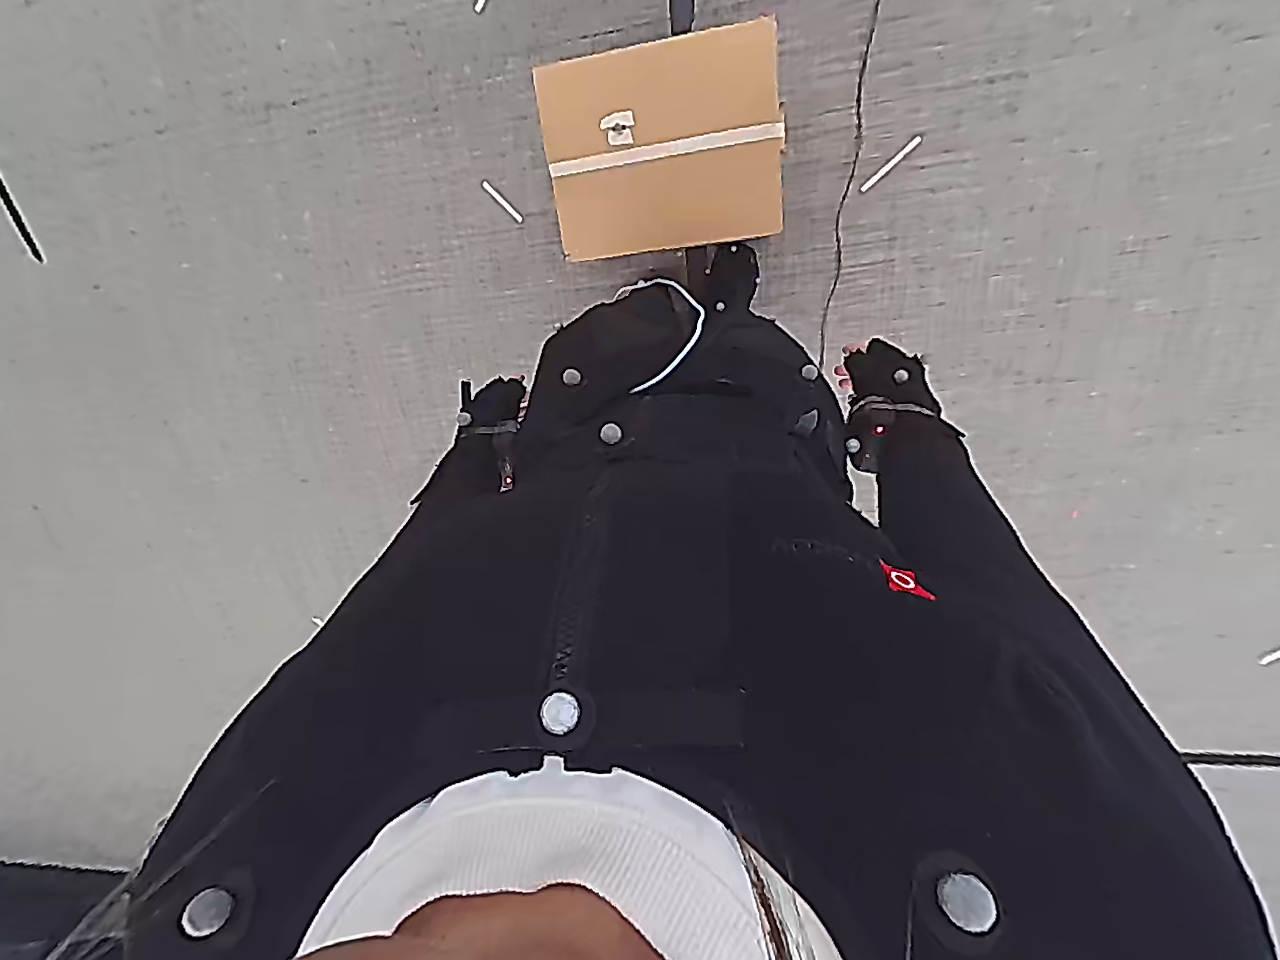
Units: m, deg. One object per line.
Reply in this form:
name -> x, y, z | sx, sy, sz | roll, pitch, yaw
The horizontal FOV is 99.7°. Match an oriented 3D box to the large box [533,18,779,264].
large box -> 0.055, -0.625, 1.067 | 0.408, 0.320, 0.320 | -3, 112, 12
